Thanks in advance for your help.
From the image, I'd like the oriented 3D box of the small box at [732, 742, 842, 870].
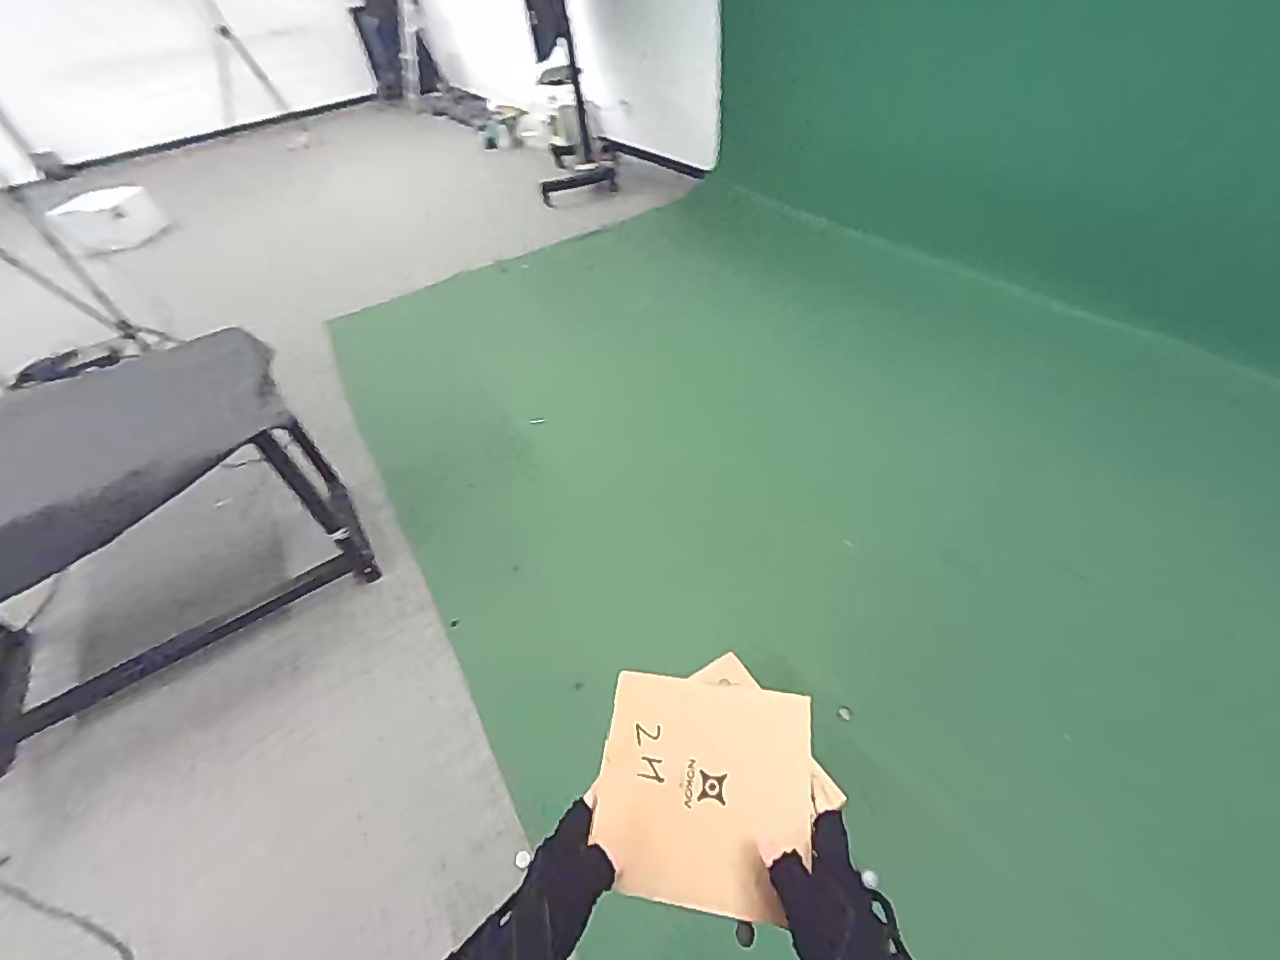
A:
[{"bbox_3d":[0.323,0.741,1.230,0.179,0.176,0.168,-28,49,-18],"label":"small box"}]
